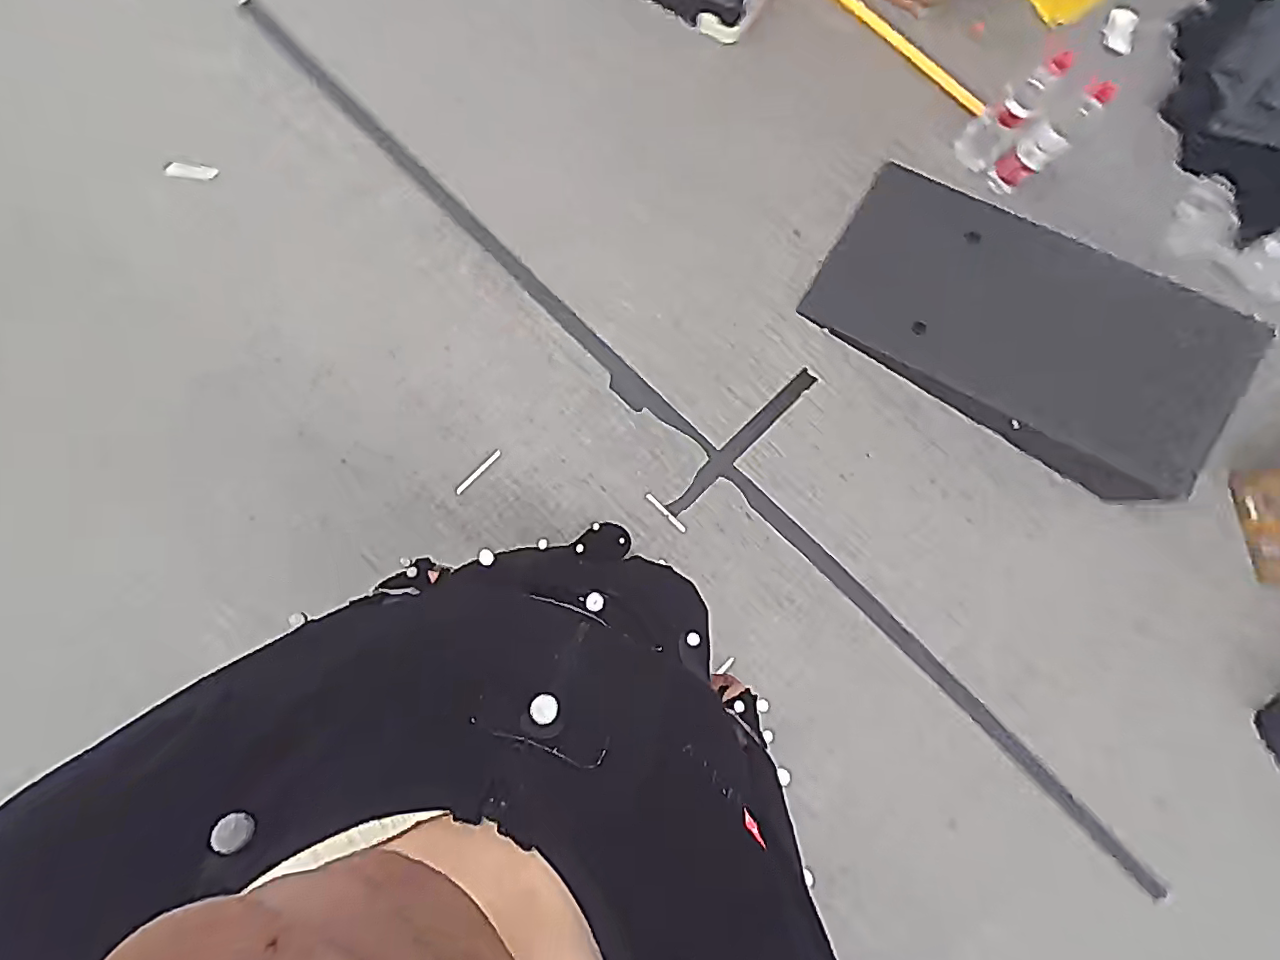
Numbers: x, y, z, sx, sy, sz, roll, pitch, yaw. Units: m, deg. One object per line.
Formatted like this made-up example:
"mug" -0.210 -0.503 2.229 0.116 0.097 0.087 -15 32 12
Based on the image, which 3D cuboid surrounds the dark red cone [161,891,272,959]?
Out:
"dark red cone" -0.993 1.091 1.113 0.202 0.394 0.201 -45 88 -3
